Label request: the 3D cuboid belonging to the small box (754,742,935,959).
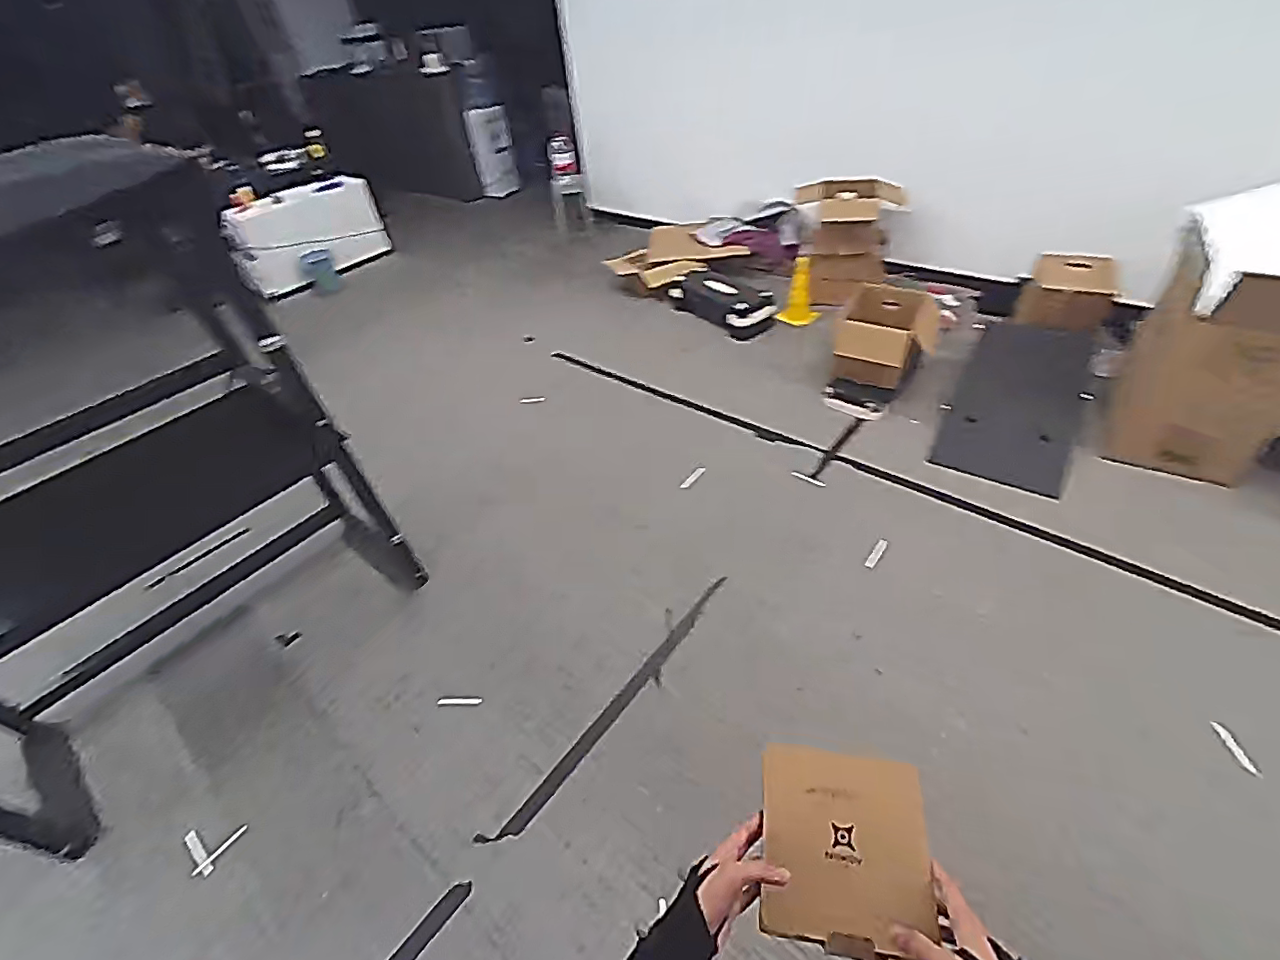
[{"bbox_3d":[0.218,0.421,0.621,0.168,0.176,0.179,0,53,12],"label":"small box"}]
